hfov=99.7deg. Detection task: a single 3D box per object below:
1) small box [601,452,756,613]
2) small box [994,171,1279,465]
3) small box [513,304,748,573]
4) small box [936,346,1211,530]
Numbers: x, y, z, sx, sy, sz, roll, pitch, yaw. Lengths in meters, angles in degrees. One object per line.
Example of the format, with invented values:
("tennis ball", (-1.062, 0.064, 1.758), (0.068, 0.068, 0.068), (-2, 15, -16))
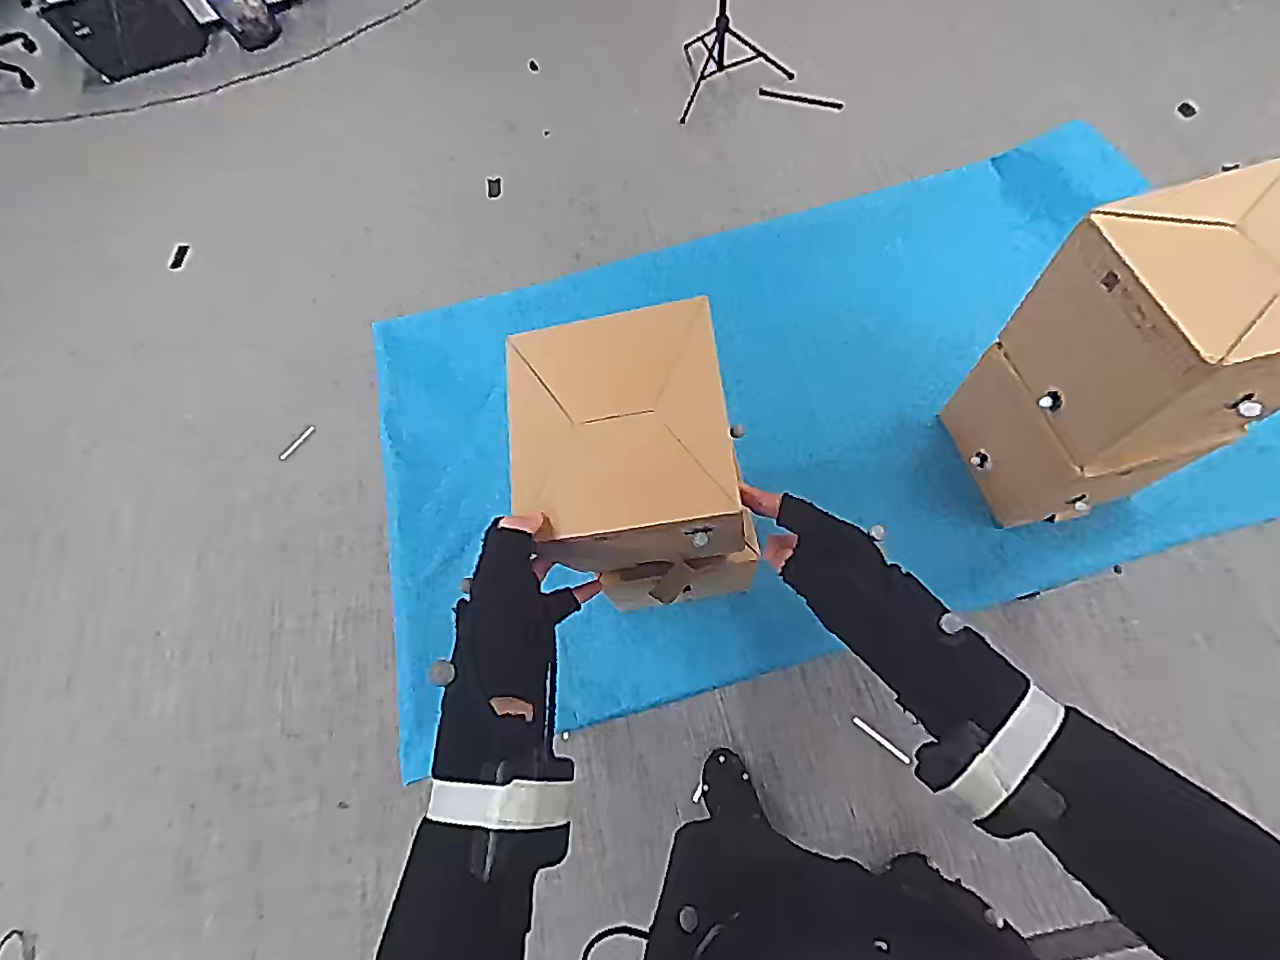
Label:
("small box", (0.037, 0.045, 0.643), (0.168, 0.176, 0.179), (-11, 67, 2))
("small box", (0.477, -0.139, 0.487), (0.179, 0.176, 0.168), (-15, 64, 3))
("small box", (-0.003, -0.022, 0.481), (0.168, 0.176, 0.179), (-9, 73, 9))
("small box", (0.493, -0.067, 0.633), (0.168, 0.176, 0.179), (-16, 65, 0))
